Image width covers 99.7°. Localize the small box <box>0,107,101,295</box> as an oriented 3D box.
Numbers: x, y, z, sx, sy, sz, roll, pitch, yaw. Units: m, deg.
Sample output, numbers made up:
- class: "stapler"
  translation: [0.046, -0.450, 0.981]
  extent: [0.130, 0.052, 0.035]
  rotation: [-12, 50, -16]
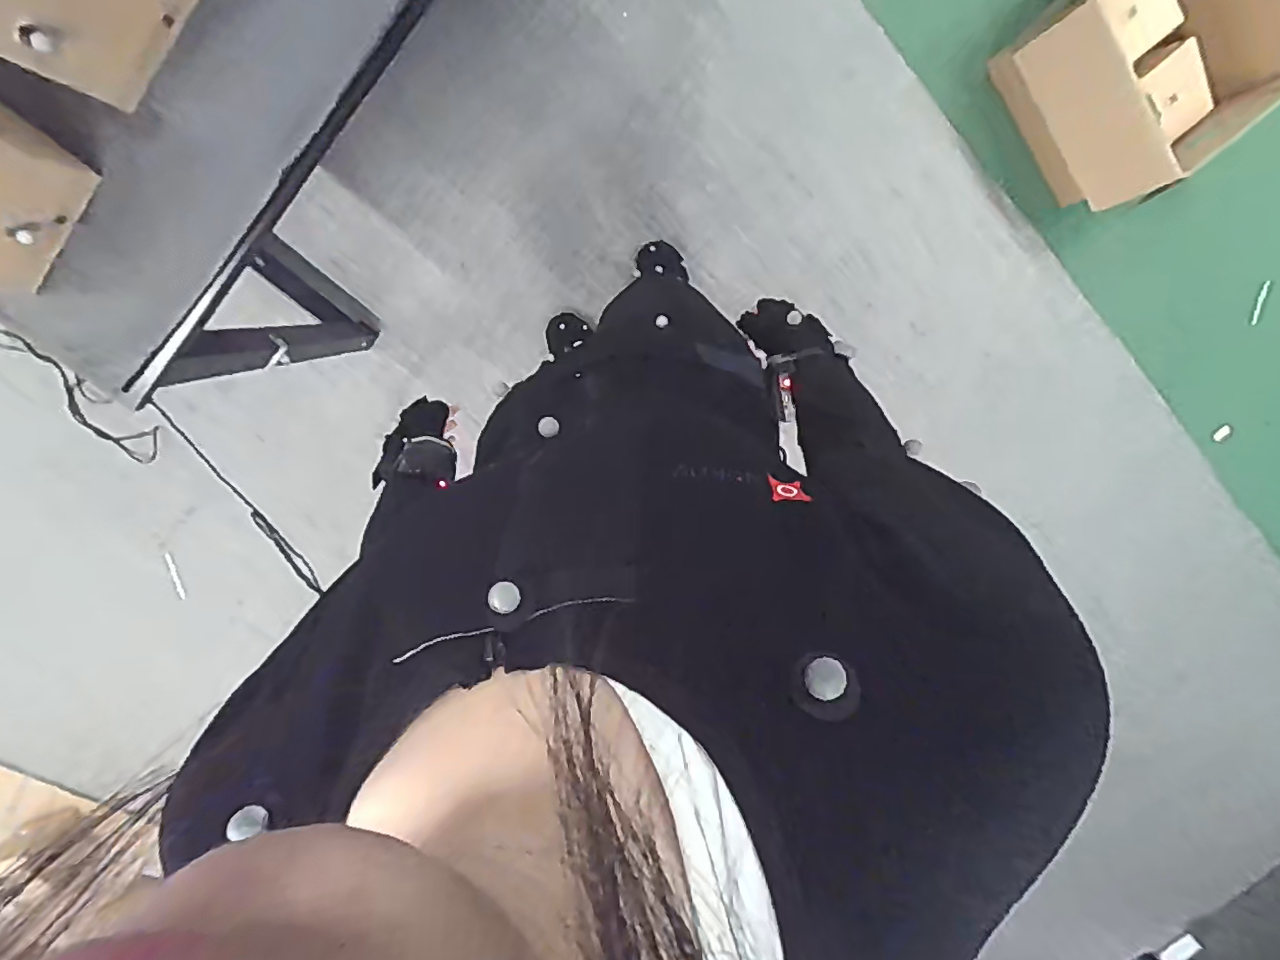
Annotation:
- class: "small box"
  translation: [-0.694, -0.292, 0.506]
  extent: [0.179, 0.176, 0.168]
  rotation: [38, 99, -13]
